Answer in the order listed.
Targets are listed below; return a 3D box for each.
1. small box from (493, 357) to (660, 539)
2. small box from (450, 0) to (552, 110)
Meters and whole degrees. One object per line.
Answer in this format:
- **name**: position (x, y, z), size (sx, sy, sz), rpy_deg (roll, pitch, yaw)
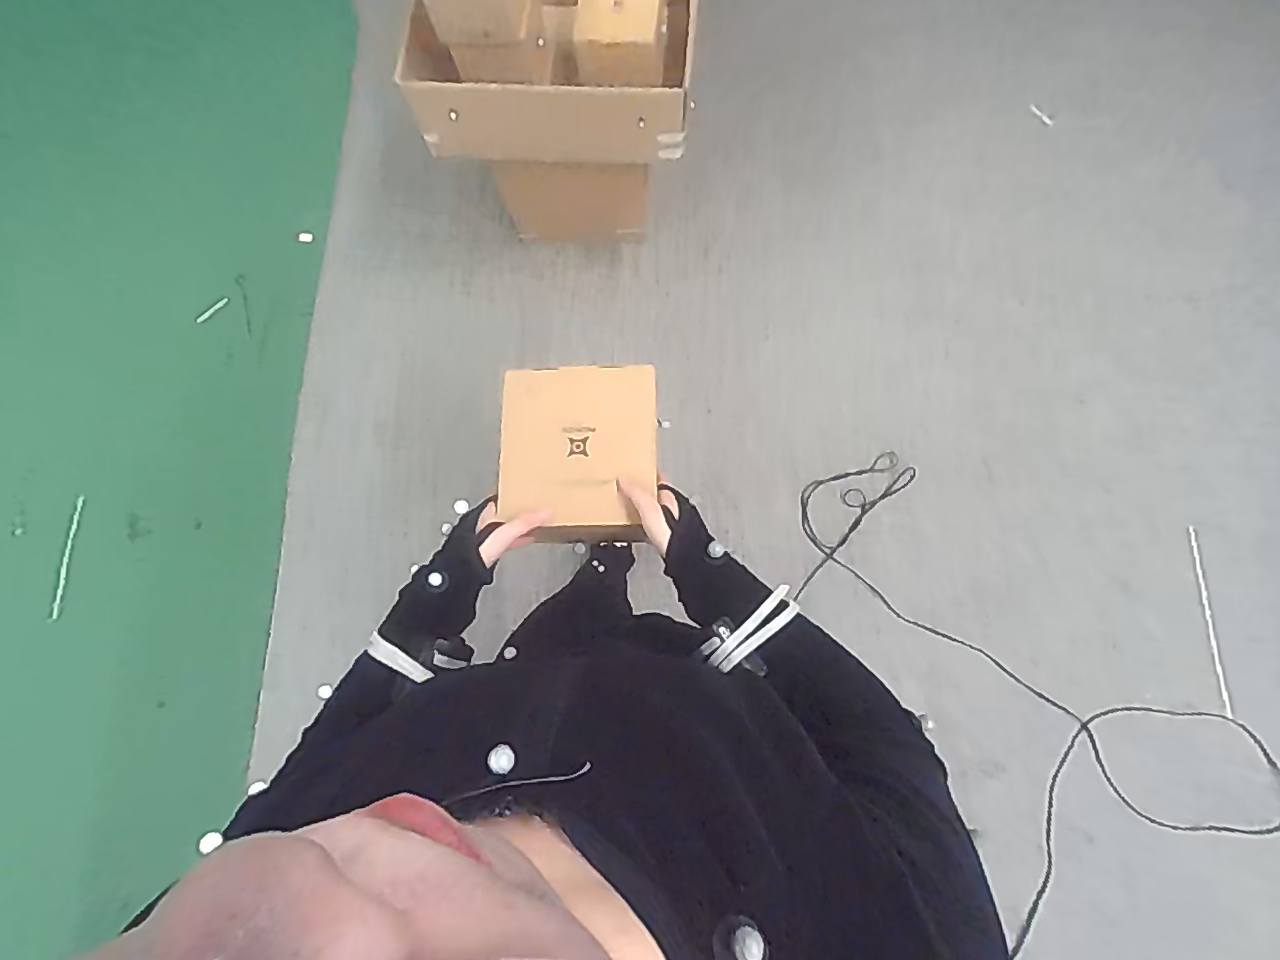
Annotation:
- **small box**: position (-0.063, -0.029, 0.642), size (0.168, 0.176, 0.179), rpy_deg (0, 77, 4)
- **small box**: position (-0.296, -0.960, 1.189), size (0.168, 0.176, 0.179), rpy_deg (3, 80, 4)
